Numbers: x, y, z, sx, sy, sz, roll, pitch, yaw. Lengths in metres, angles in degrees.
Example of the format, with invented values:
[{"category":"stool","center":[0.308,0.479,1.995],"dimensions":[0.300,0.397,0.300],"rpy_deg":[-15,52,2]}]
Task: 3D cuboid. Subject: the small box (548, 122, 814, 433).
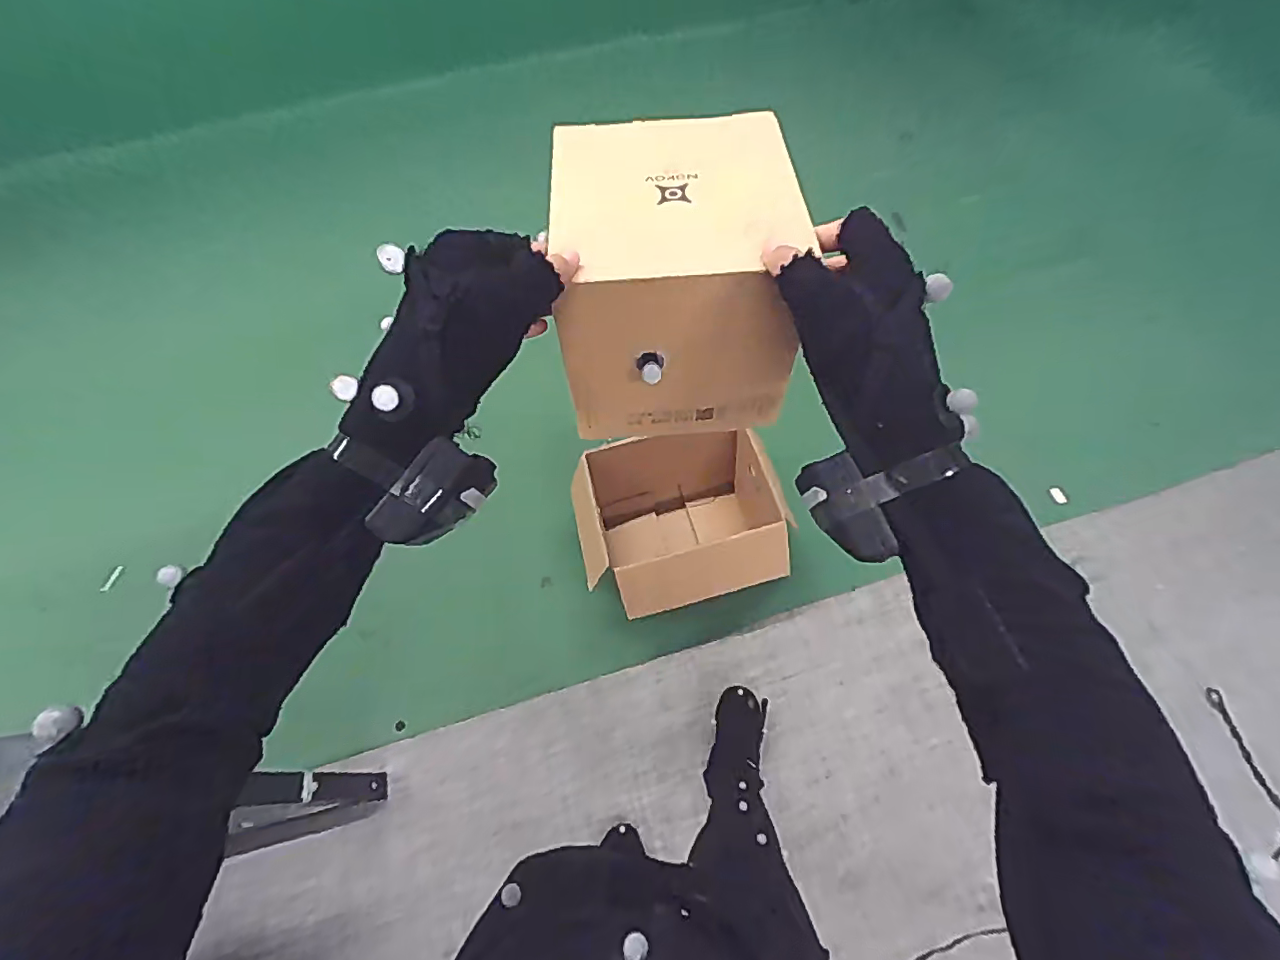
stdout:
[{"category":"small box","center":[0.025,-0.149,0.436],"dimensions":[0.168,0.176,0.179],"rpy_deg":[-4,59,0]}]
